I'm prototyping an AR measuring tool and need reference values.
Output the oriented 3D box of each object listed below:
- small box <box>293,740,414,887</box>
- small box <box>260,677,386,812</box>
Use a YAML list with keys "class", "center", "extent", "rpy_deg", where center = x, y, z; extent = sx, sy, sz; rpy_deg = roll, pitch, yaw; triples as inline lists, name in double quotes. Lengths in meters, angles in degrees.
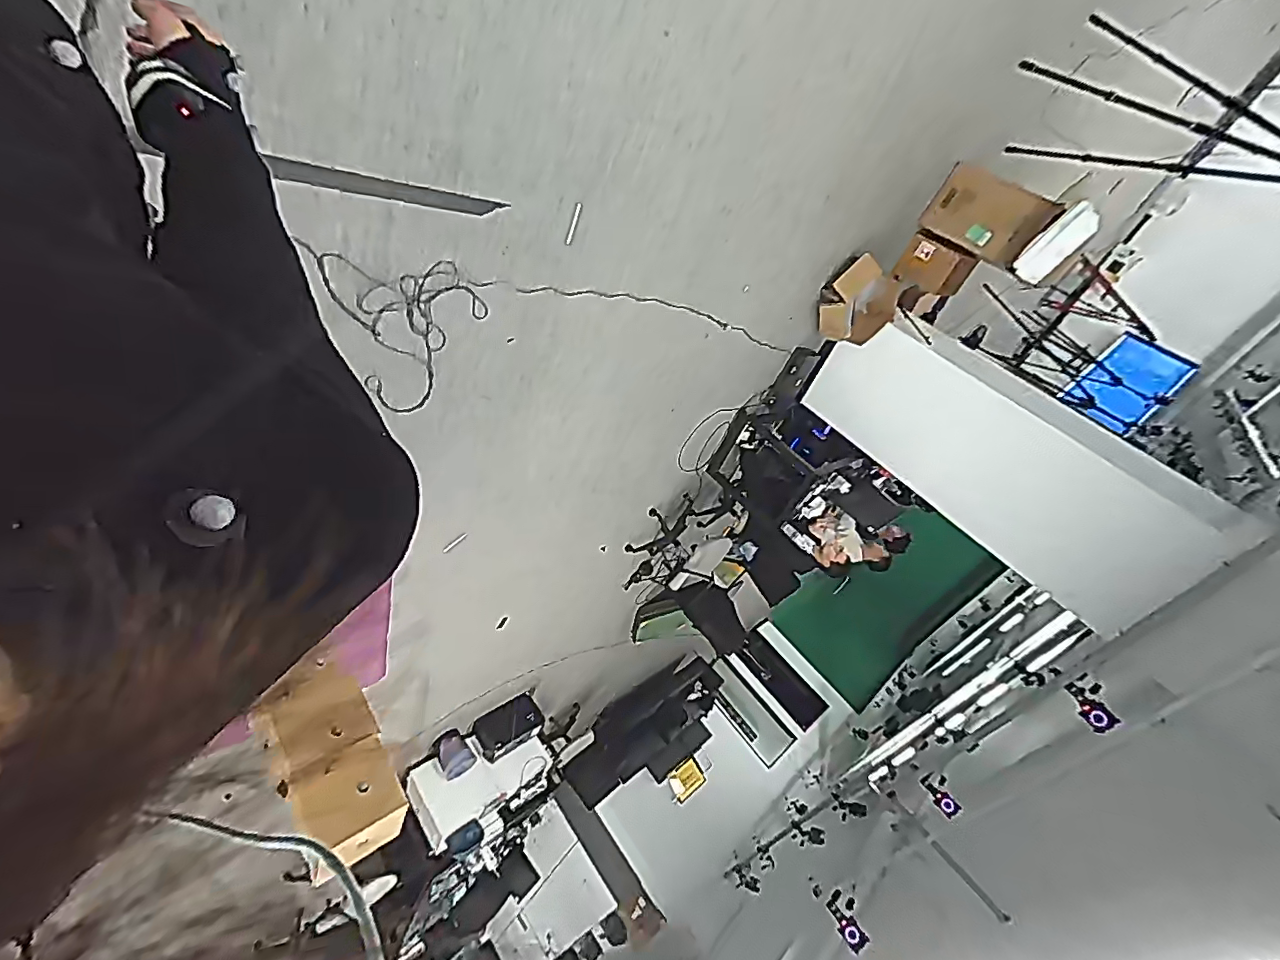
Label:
- class: "small box"
  center: [-0.586, 0.665, 1.100]
  extent: [0.168, 0.176, 0.179]
  rpy_deg: [-16, 143, -44]
- class: "small box"
  center: [-0.689, 0.563, 1.174]
  extent: [0.179, 0.176, 0.168]
  rpy_deg: [-9, 136, -49]
